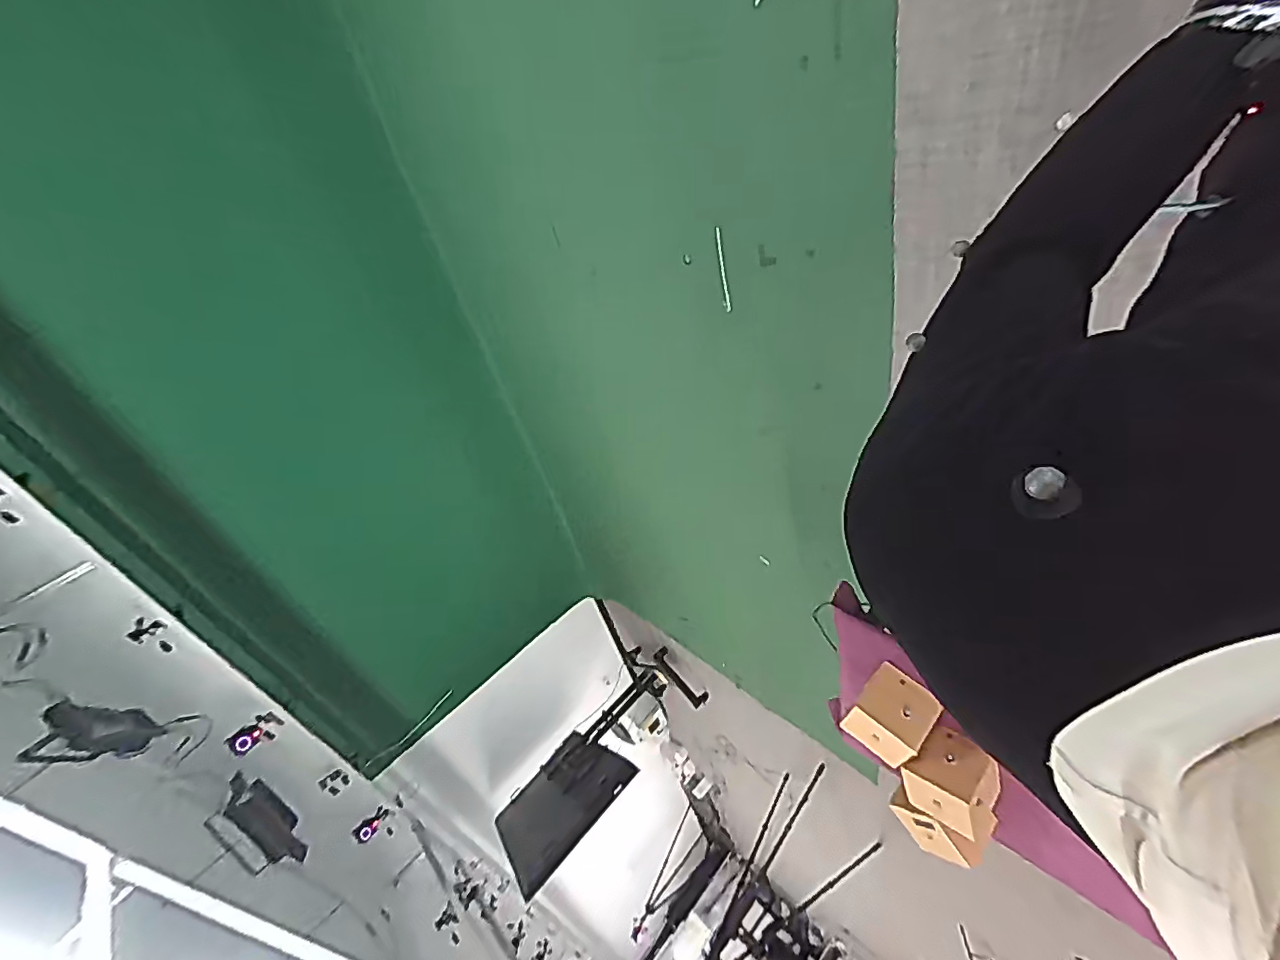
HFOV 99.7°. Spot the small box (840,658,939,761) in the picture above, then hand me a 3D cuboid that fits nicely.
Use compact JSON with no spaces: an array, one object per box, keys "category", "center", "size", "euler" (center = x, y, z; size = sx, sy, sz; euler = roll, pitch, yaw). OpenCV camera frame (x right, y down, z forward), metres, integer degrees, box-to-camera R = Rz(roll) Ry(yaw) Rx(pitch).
[{"category":"small box","center":[0.671,0.612,1.453],"size":[0.168,0.176,0.179],"euler":[34,151,27]}]

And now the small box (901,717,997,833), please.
[{"category":"small box","center":[0.815,0.766,1.423],"size":[0.168,0.176,0.179],"euler":[14,136,50]}]
